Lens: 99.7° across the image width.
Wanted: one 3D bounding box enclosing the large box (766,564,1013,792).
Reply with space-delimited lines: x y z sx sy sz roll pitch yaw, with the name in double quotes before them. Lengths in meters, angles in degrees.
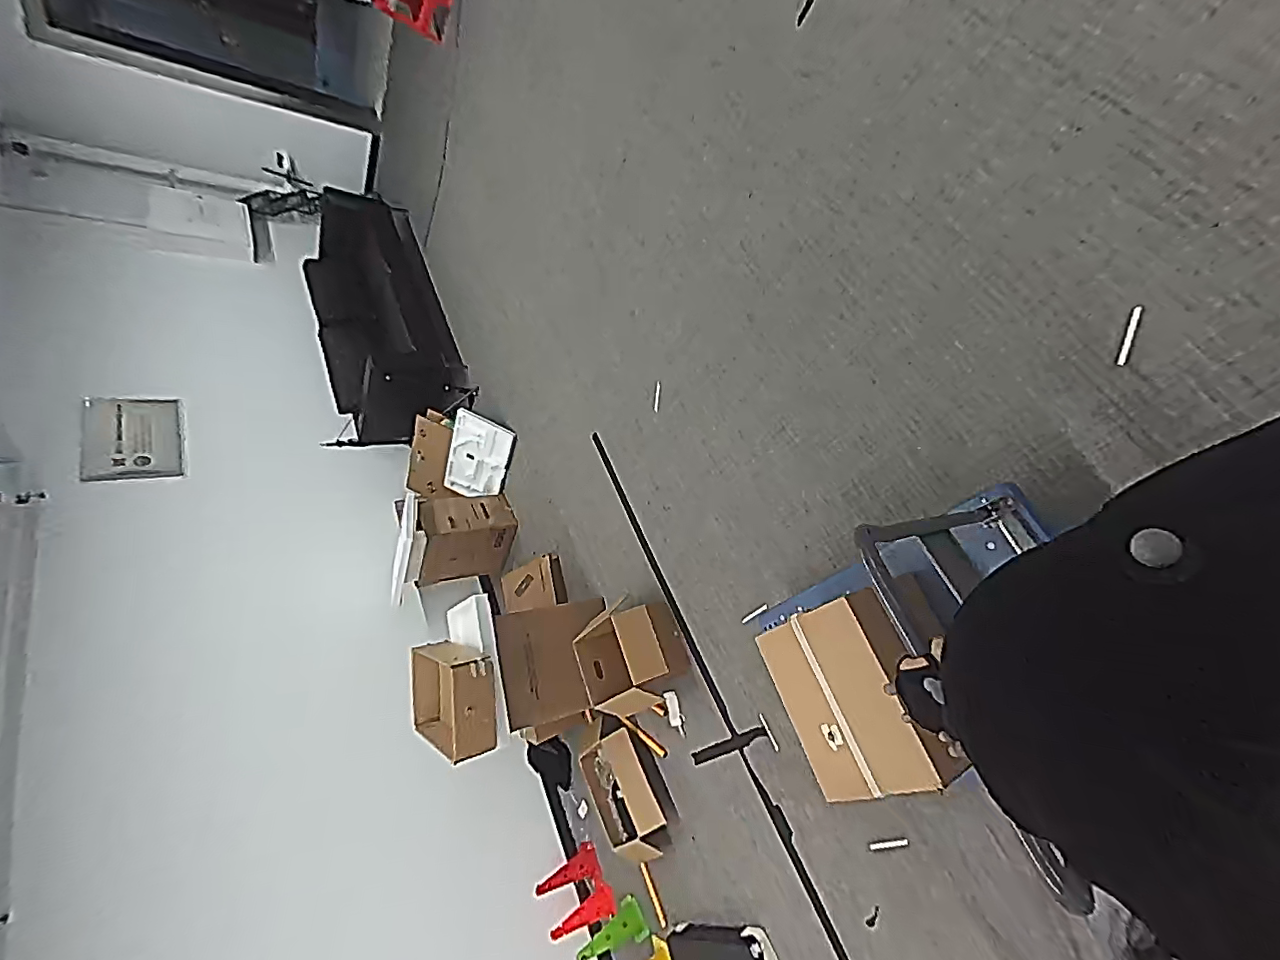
"large box" 0.587 0.466 1.310 0.320 0.320 0.408 -47 59 46
